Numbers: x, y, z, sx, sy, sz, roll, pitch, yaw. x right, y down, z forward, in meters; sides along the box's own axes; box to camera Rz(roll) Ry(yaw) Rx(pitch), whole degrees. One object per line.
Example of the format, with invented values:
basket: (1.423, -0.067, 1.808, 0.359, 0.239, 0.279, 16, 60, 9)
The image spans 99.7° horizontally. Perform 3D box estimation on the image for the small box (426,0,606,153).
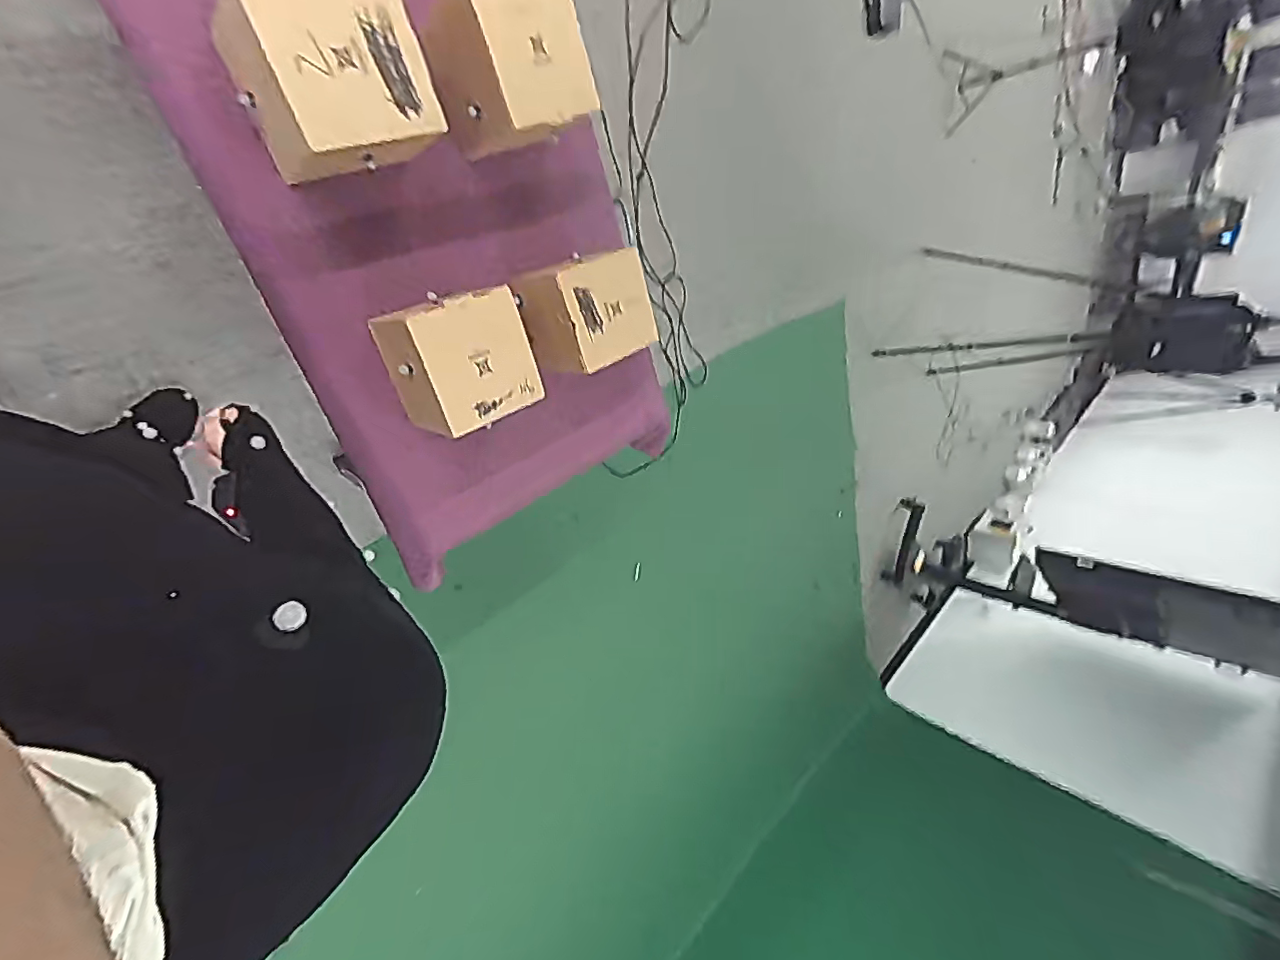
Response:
small box: (-0.182, -0.604, 0.798, 0.168, 0.176, 0.179, -34, 121, -30)

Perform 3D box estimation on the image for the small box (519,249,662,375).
small box: (-0.093, -0.294, 0.957, 0.179, 0.176, 0.168, -33, 121, -31)

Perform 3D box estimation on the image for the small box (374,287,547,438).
small box: (-0.276, -0.180, 0.827, 0.168, 0.176, 0.179, -31, 119, -32)
